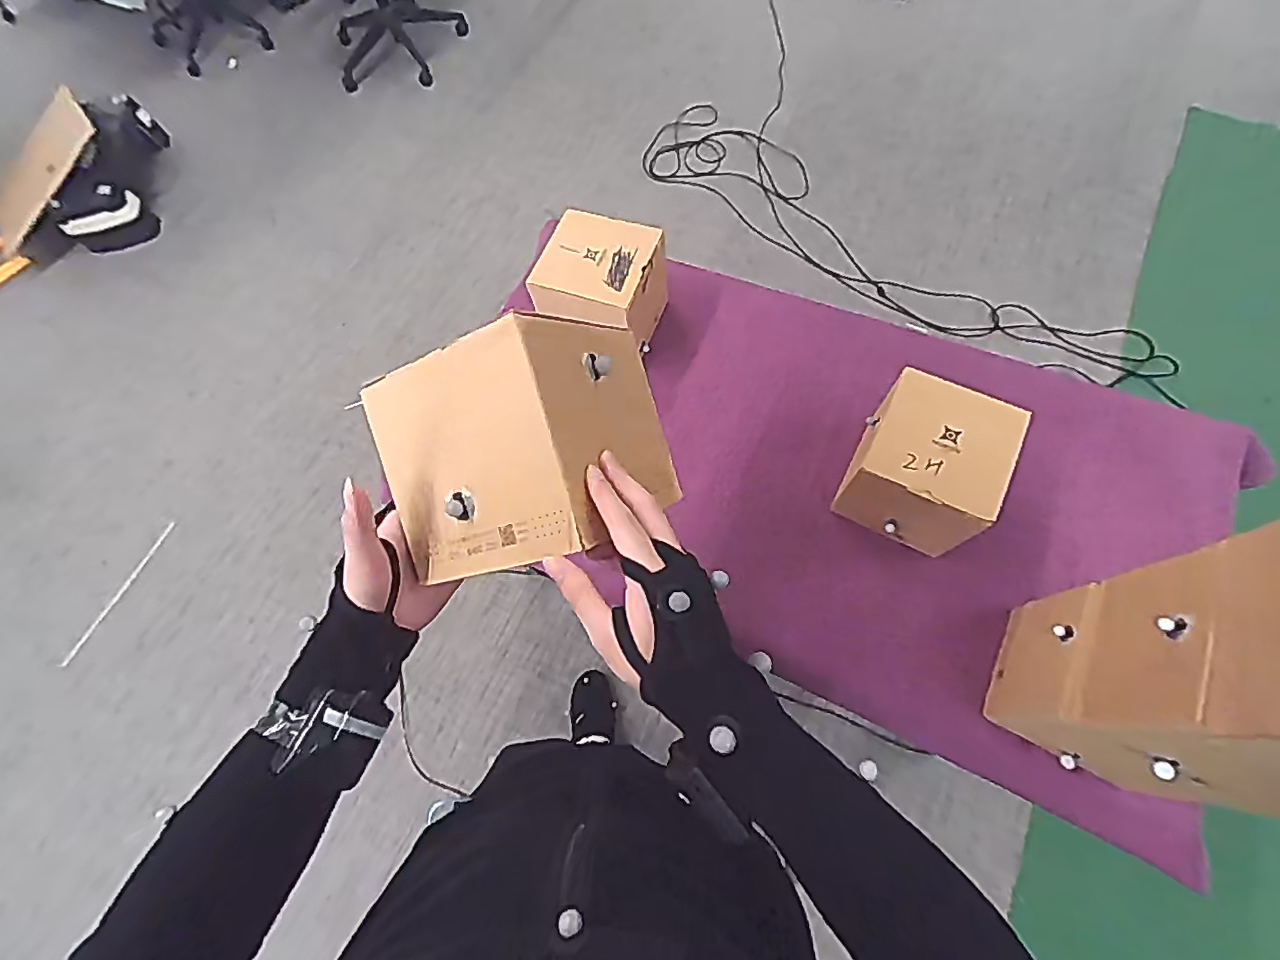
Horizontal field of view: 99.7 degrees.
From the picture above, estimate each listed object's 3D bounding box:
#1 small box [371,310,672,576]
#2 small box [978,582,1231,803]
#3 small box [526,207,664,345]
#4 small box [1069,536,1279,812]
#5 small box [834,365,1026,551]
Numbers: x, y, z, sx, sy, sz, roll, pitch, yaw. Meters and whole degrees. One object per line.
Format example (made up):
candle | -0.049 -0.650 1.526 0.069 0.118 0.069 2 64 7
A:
small box | -0.087 -0.029 0.466 0.168 0.179 0.176 -15 94 29
small box | 0.557 0.247 0.651 0.179 0.176 0.168 26 71 14
small box | -0.064 -0.326 0.931 0.179 0.176 0.168 19 71 12
small box | 0.548 0.183 0.502 0.168 0.176 0.179 25 72 16
small box | 0.399 -0.024 0.774 0.168 0.176 0.179 26 73 15
